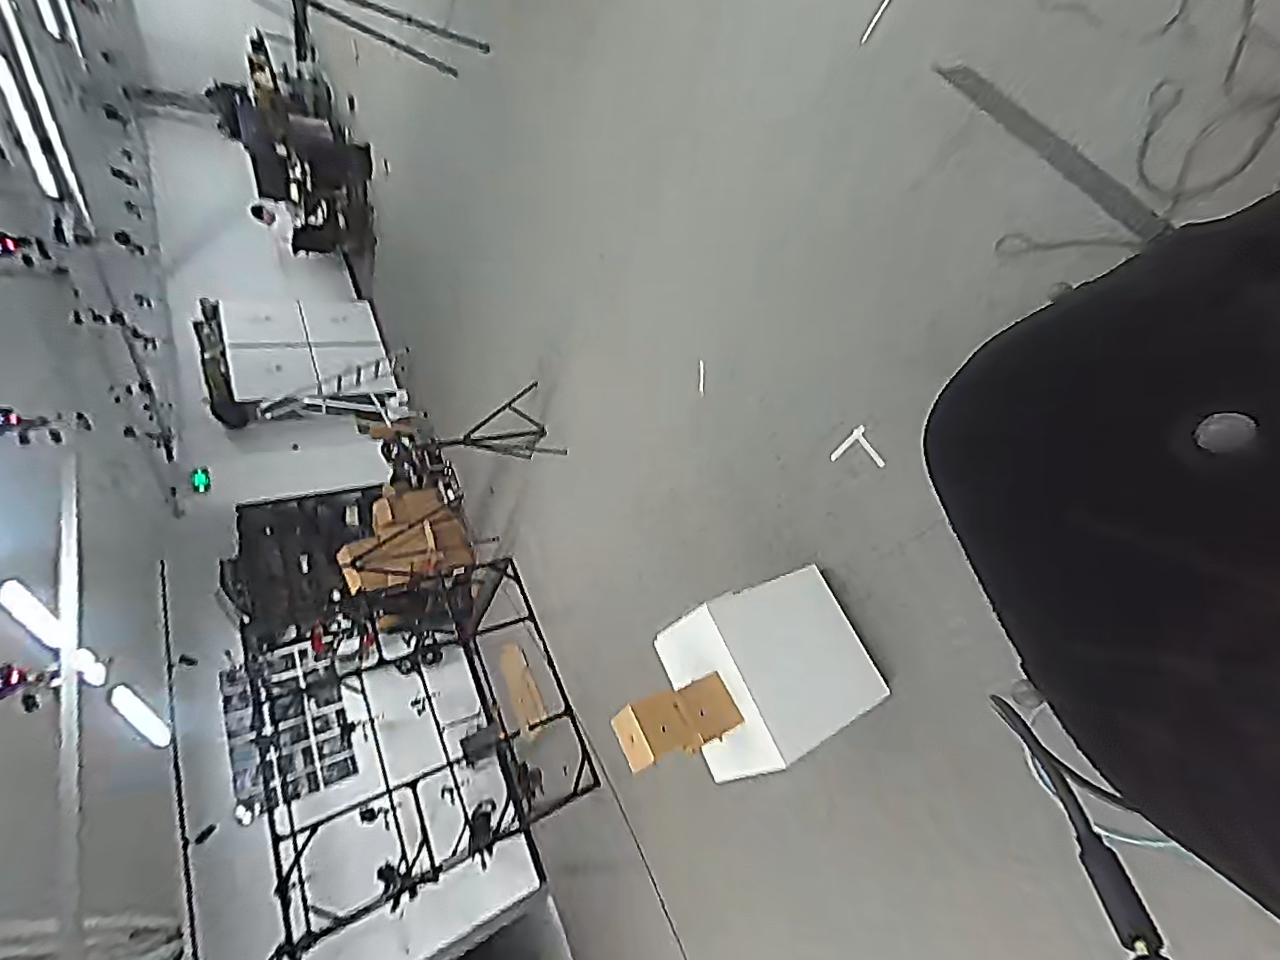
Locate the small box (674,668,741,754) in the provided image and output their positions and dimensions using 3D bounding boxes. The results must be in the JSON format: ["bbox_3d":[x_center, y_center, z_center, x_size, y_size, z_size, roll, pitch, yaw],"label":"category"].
[{"bbox_3d":[0.190,0.732,1.721,0.179,0.176,0.168,60,142,27],"label":"small box"}]

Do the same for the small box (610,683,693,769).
[{"bbox_3d":[0.040,0.747,1.653,0.168,0.176,0.179,60,143,26],"label":"small box"}]
